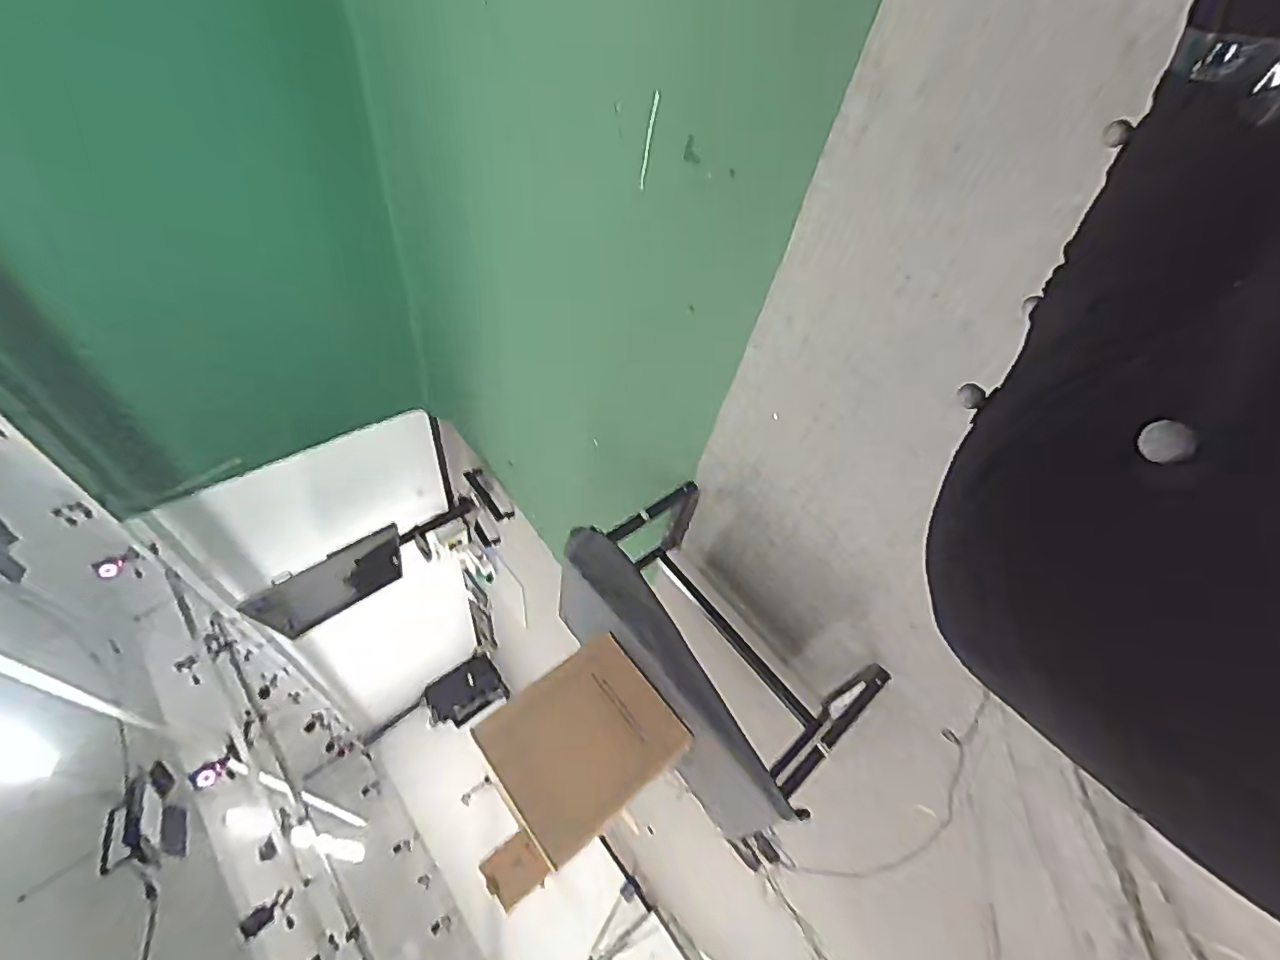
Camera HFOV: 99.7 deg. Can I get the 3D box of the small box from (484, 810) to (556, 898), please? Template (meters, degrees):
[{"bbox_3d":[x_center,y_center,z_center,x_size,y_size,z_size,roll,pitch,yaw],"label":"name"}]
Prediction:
[{"bbox_3d":[-0.391,1.231,1.786,0.168,0.176,0.179,42,145,26],"label":"small box"}]
